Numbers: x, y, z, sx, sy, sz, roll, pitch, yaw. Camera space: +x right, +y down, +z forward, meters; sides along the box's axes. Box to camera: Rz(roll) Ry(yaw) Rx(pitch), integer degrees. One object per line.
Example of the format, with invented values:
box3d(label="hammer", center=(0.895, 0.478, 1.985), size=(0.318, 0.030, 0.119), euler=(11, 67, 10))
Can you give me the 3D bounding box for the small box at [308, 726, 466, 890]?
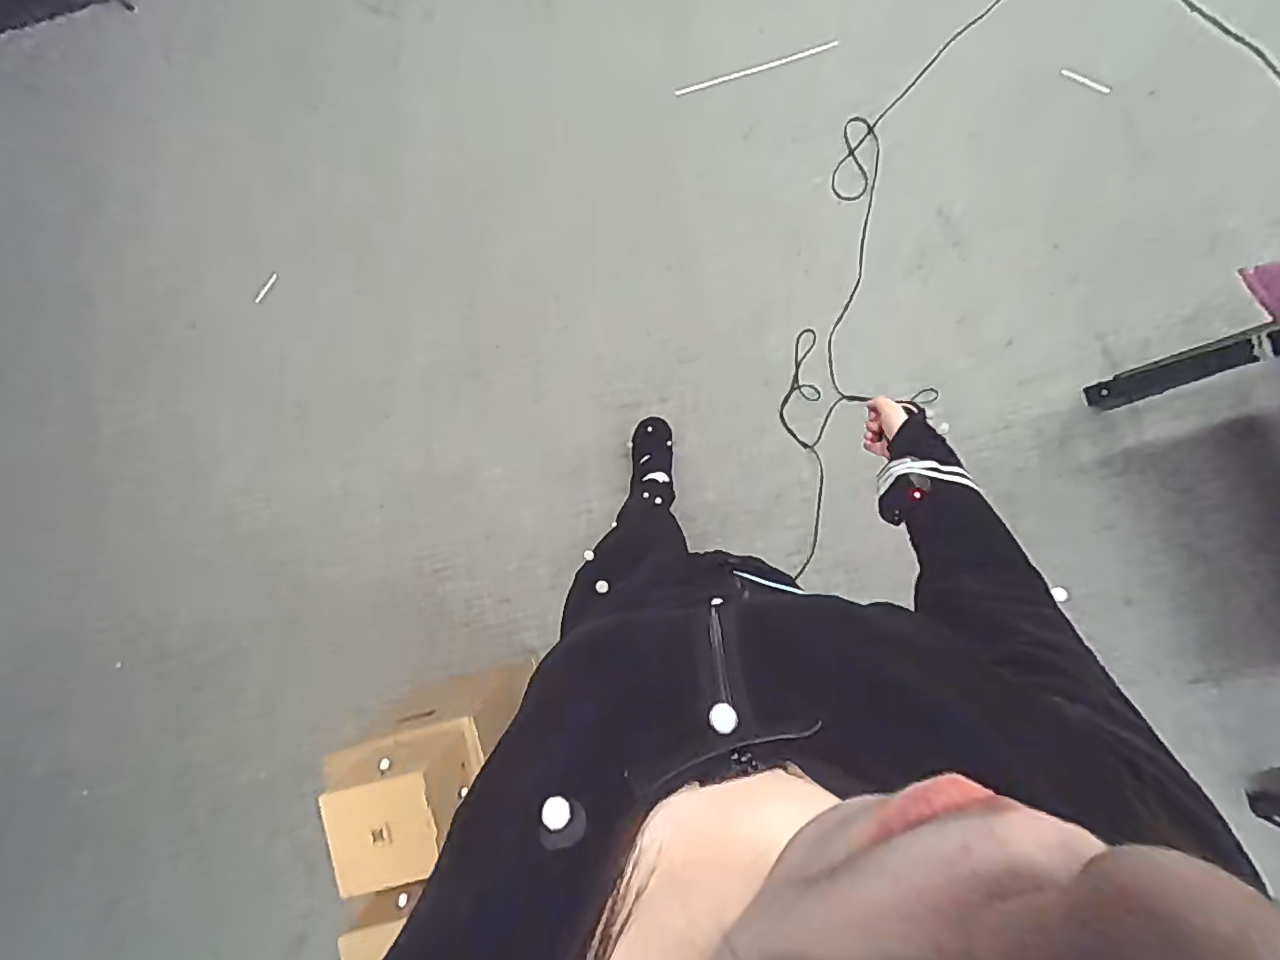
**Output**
box3d(label="small box", center=(-0.427, 0.555, 0.938), size=(0.179, 0.176, 0.168), euler=(-14, 88, 1))
